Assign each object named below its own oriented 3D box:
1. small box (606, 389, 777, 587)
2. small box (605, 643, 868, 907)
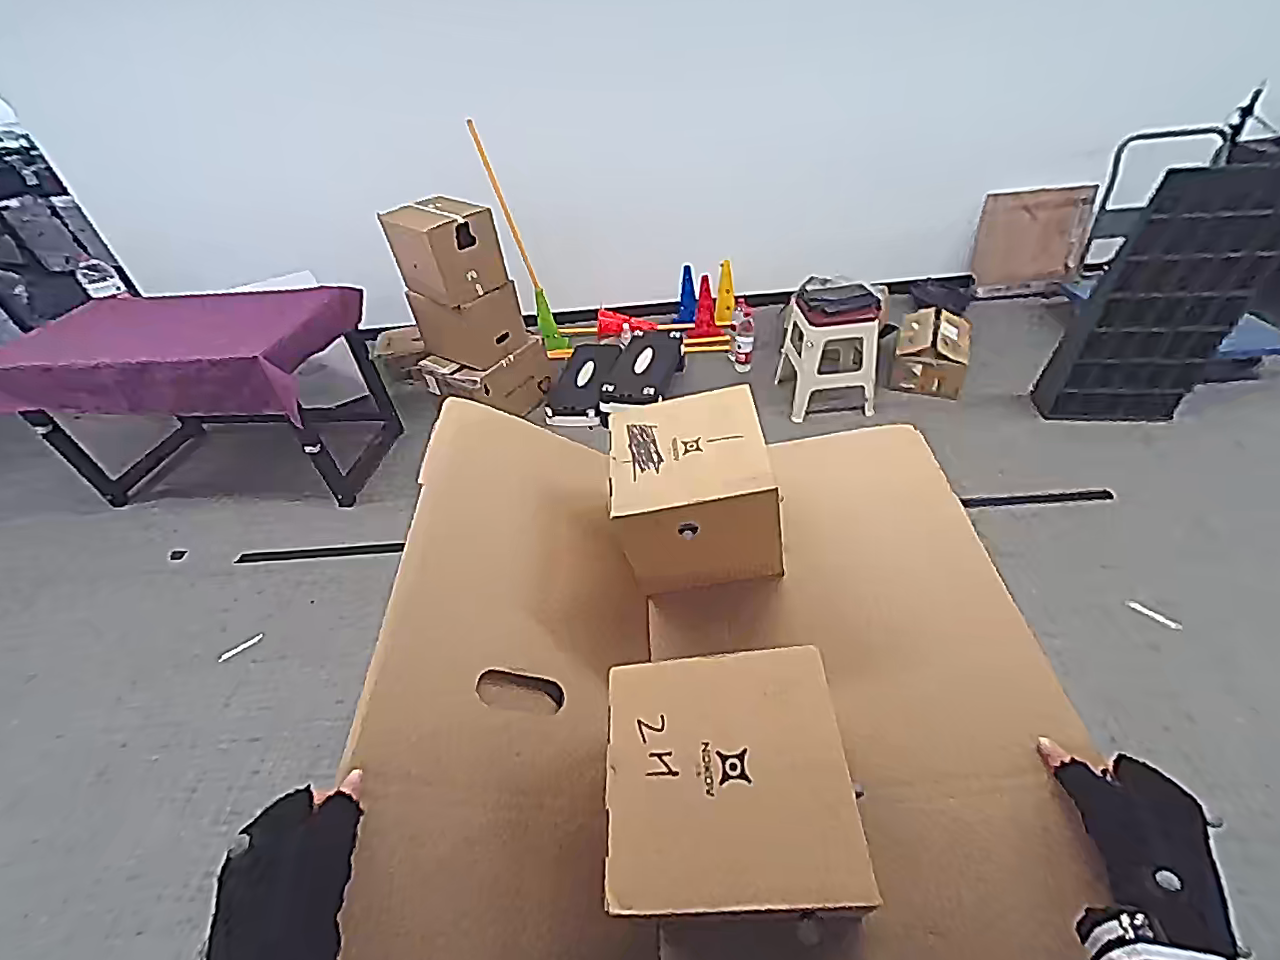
[{"bbox_3d":[0.065,0.017,0.675,0.179,0.176,0.168,-11,48,8],"label":"small box"},{"bbox_3d":[0.078,0.258,0.465,0.179,0.176,0.168,-10,48,10],"label":"small box"}]
